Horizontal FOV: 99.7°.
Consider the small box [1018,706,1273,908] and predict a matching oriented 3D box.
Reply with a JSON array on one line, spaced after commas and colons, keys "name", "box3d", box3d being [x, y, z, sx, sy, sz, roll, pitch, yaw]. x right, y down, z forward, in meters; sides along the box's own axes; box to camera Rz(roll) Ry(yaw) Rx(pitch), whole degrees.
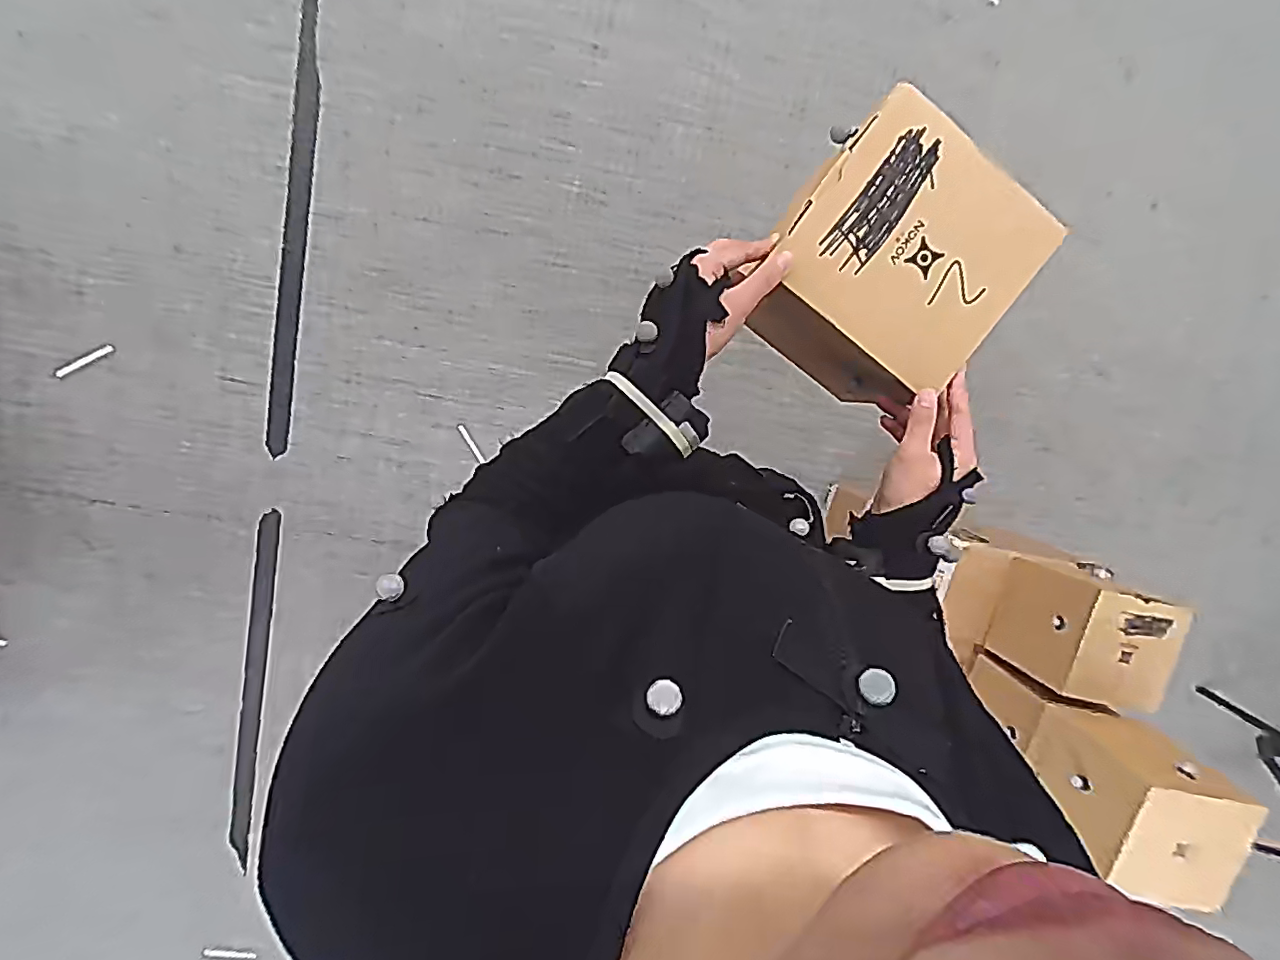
[{"name": "small box", "box3d": [0.686, 0.445, 0.760, 0.179, 0.176, 0.168, 12, 100, -6]}]
